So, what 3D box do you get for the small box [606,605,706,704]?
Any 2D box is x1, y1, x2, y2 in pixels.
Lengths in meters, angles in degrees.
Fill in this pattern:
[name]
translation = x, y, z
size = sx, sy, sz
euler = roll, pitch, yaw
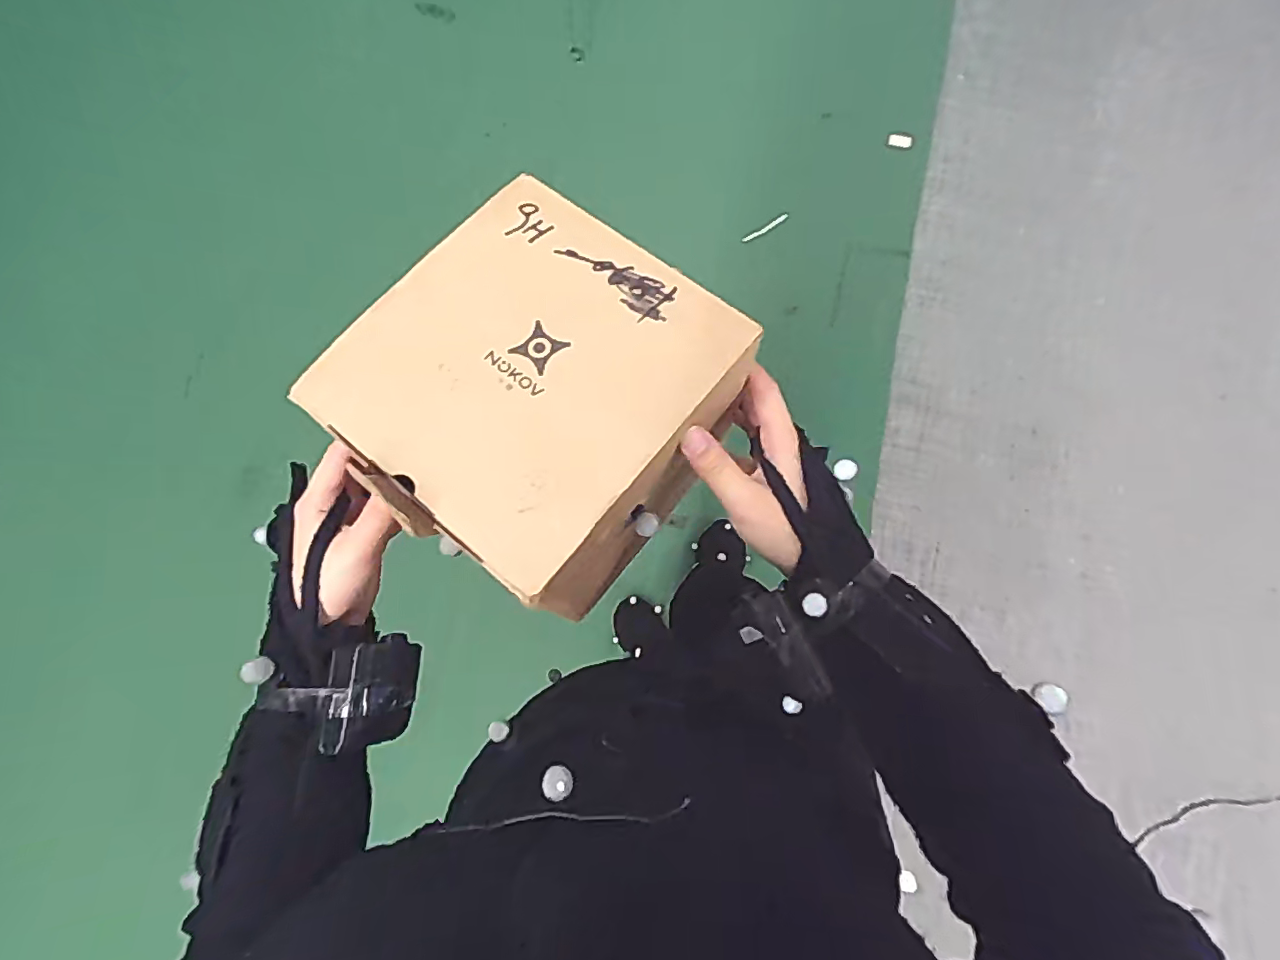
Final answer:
[small box]
translation = 0.036, 0.366, 1.163
size = 0.179, 0.176, 0.168
euler = 8, 81, 17
